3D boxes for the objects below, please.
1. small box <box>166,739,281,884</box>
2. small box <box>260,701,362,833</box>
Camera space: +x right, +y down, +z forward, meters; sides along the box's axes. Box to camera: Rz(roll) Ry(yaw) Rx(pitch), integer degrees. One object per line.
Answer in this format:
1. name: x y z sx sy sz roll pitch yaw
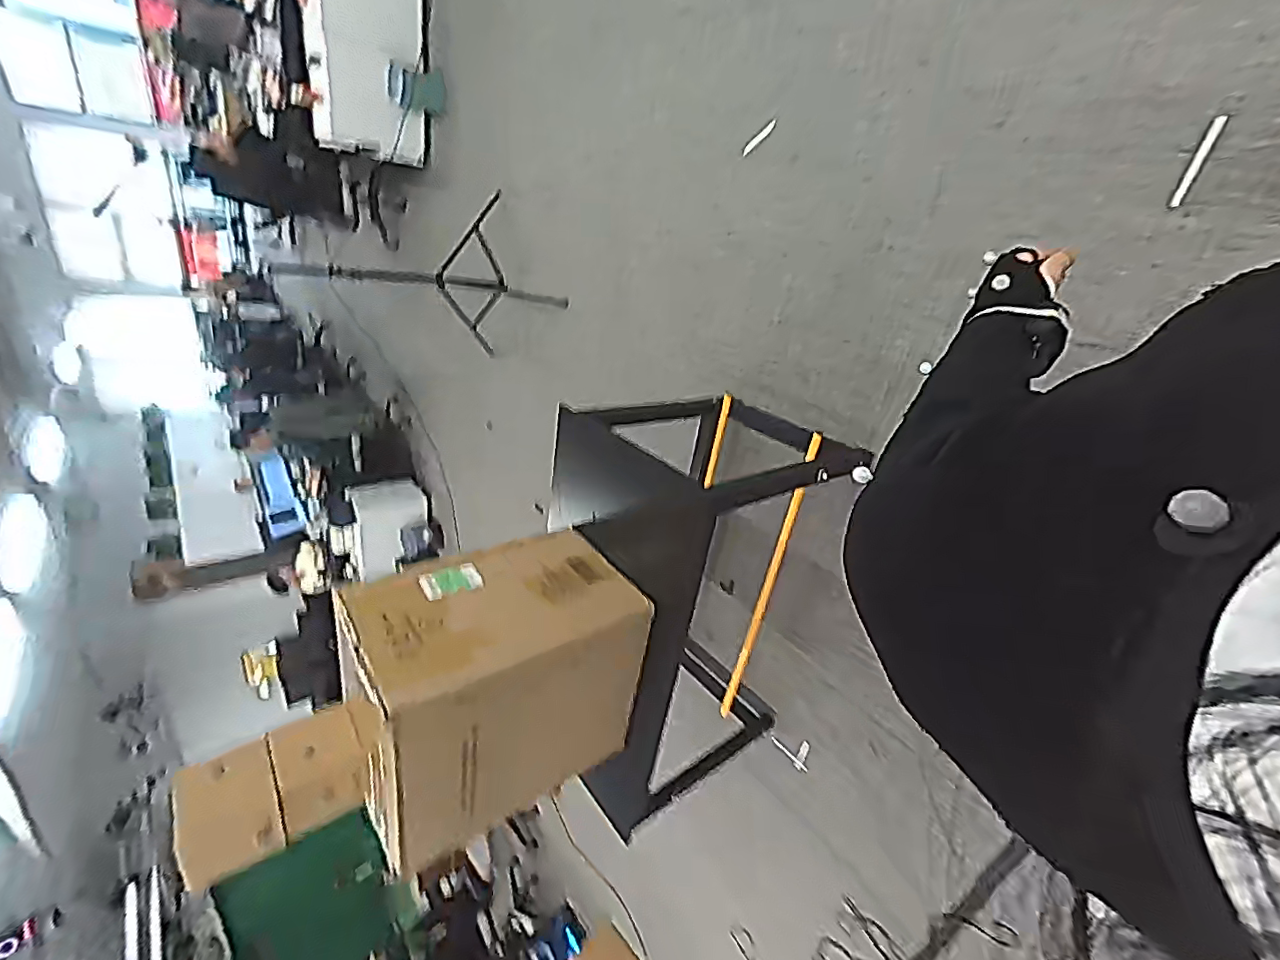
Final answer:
1. small box: -0.869 0.679 1.135 0.179 0.176 0.168 38 127 40
2. small box: -0.753 0.651 1.248 0.179 0.176 0.168 36 124 41
